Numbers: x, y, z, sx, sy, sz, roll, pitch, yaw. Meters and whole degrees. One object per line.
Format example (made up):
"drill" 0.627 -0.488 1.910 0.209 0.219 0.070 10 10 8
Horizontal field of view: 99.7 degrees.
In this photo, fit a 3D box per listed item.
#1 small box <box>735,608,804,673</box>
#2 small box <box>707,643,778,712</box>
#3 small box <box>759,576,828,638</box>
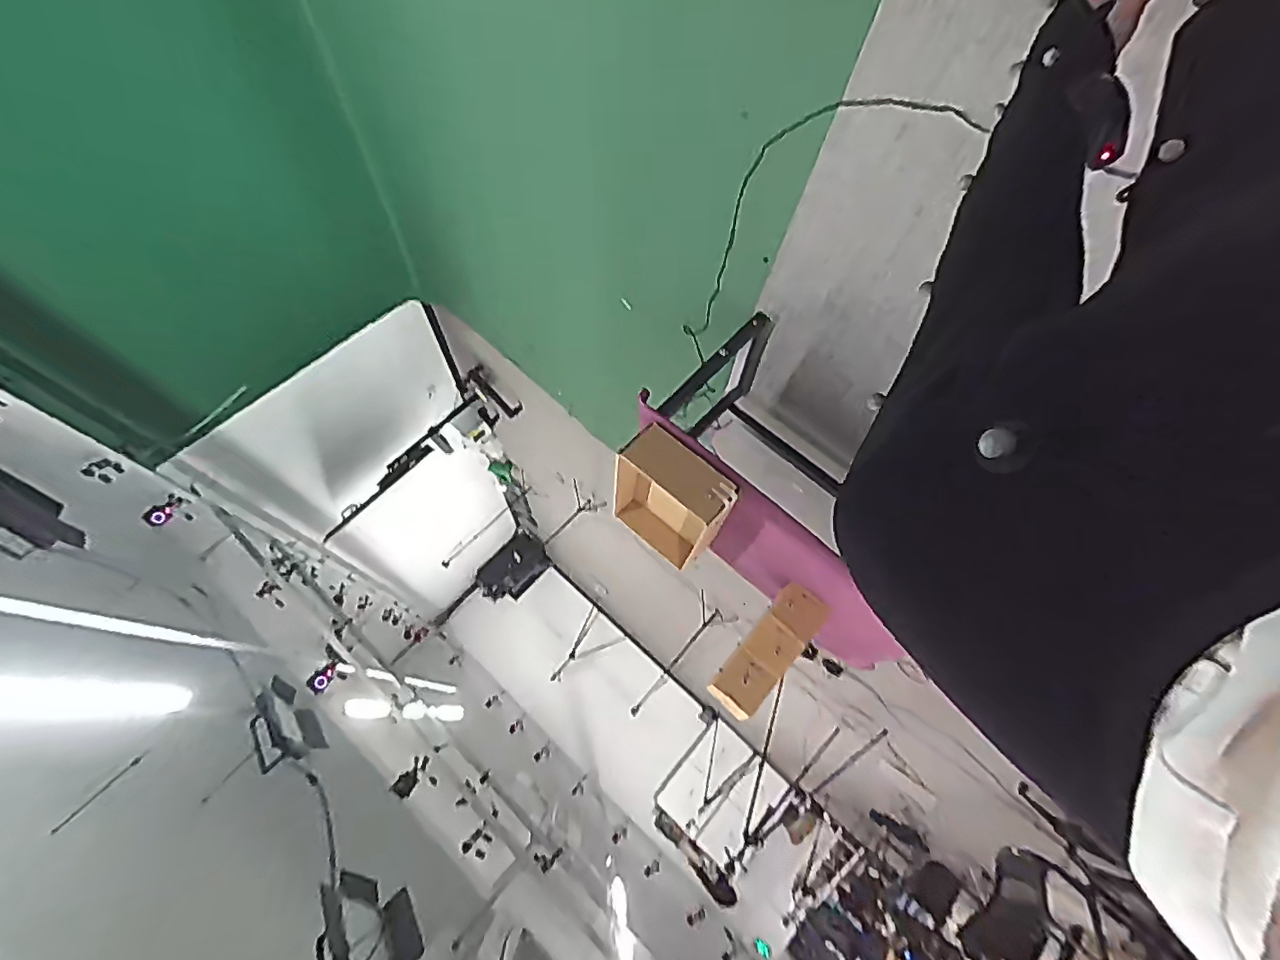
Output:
"small box" 0.478 0.593 1.988 0.168 0.176 0.179 40 160 13
"small box" 0.368 0.704 1.937 0.168 0.176 0.179 41 159 14
"small box" 0.584 0.486 2.047 0.168 0.176 0.179 41 160 13
